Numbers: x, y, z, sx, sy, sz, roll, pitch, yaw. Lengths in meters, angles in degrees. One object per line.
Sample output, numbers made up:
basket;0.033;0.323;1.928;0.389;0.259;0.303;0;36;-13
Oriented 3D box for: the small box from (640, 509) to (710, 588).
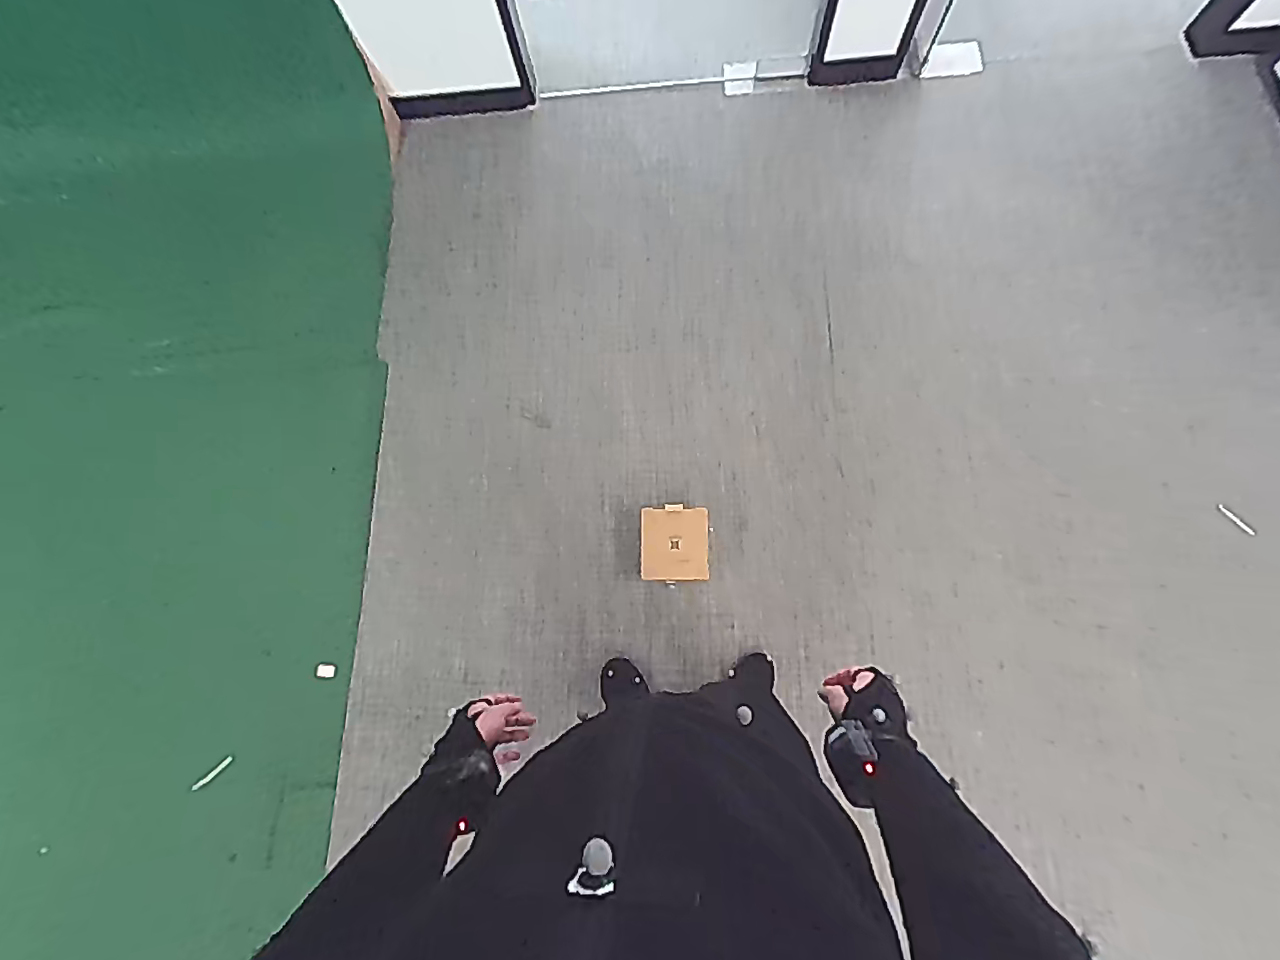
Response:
small box;0.091;0.176;1.365;0.168;0.176;0.179;0;76;7
